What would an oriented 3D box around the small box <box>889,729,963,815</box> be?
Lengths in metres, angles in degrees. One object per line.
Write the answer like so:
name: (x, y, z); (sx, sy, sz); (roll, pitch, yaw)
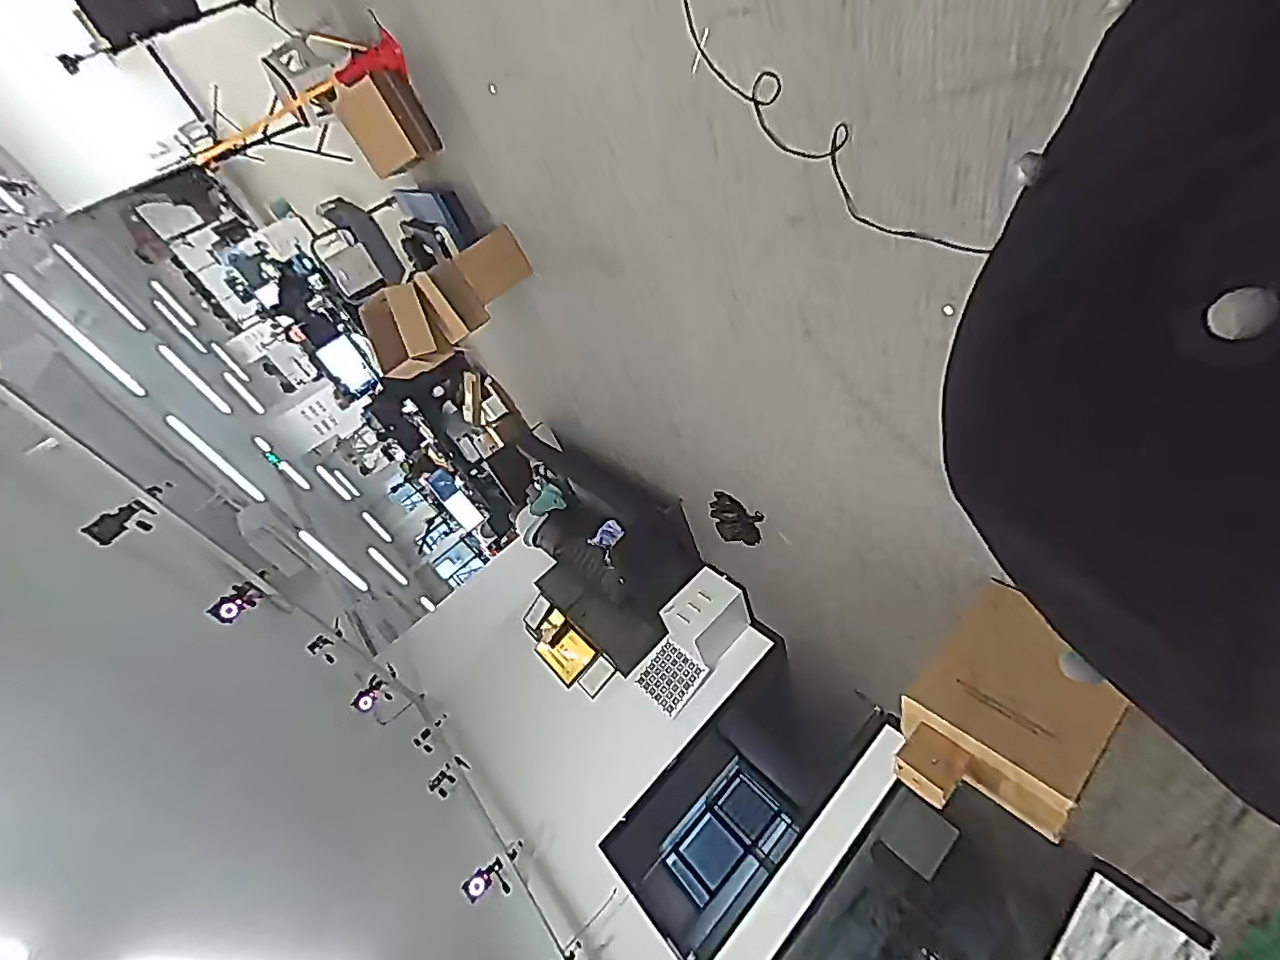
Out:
small box: (1.006, 1.021, 1.903); (0.179, 0.176, 0.168); (29, 147, 43)
